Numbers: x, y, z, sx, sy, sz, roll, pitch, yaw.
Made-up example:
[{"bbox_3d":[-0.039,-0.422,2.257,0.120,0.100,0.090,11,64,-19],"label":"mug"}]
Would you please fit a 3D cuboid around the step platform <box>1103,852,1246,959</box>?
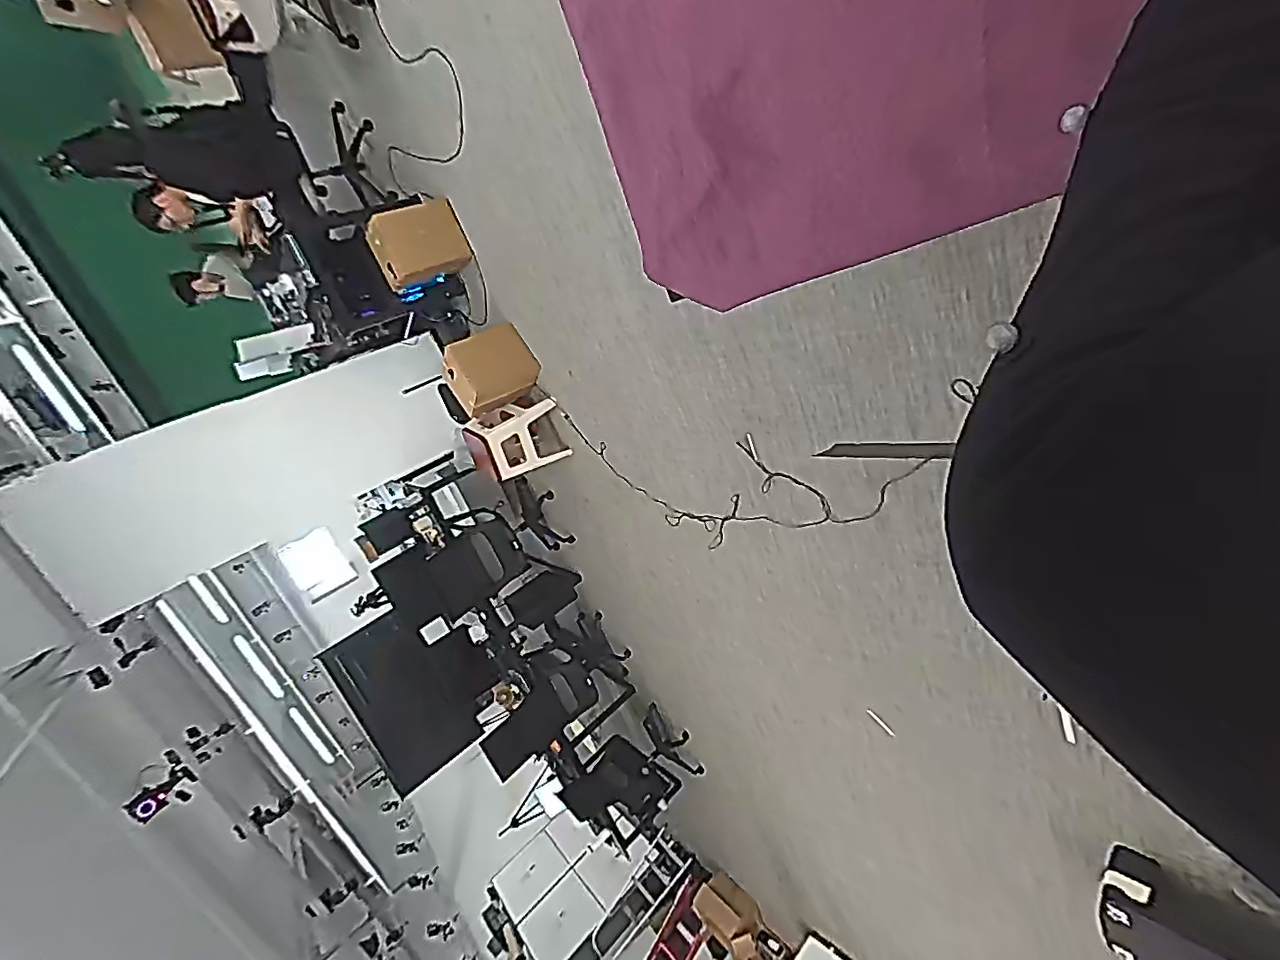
[{"bbox_3d":[1.691,1.350,1.447,0.684,0.204,0.286,4,122,54],"label":"step platform"}]
